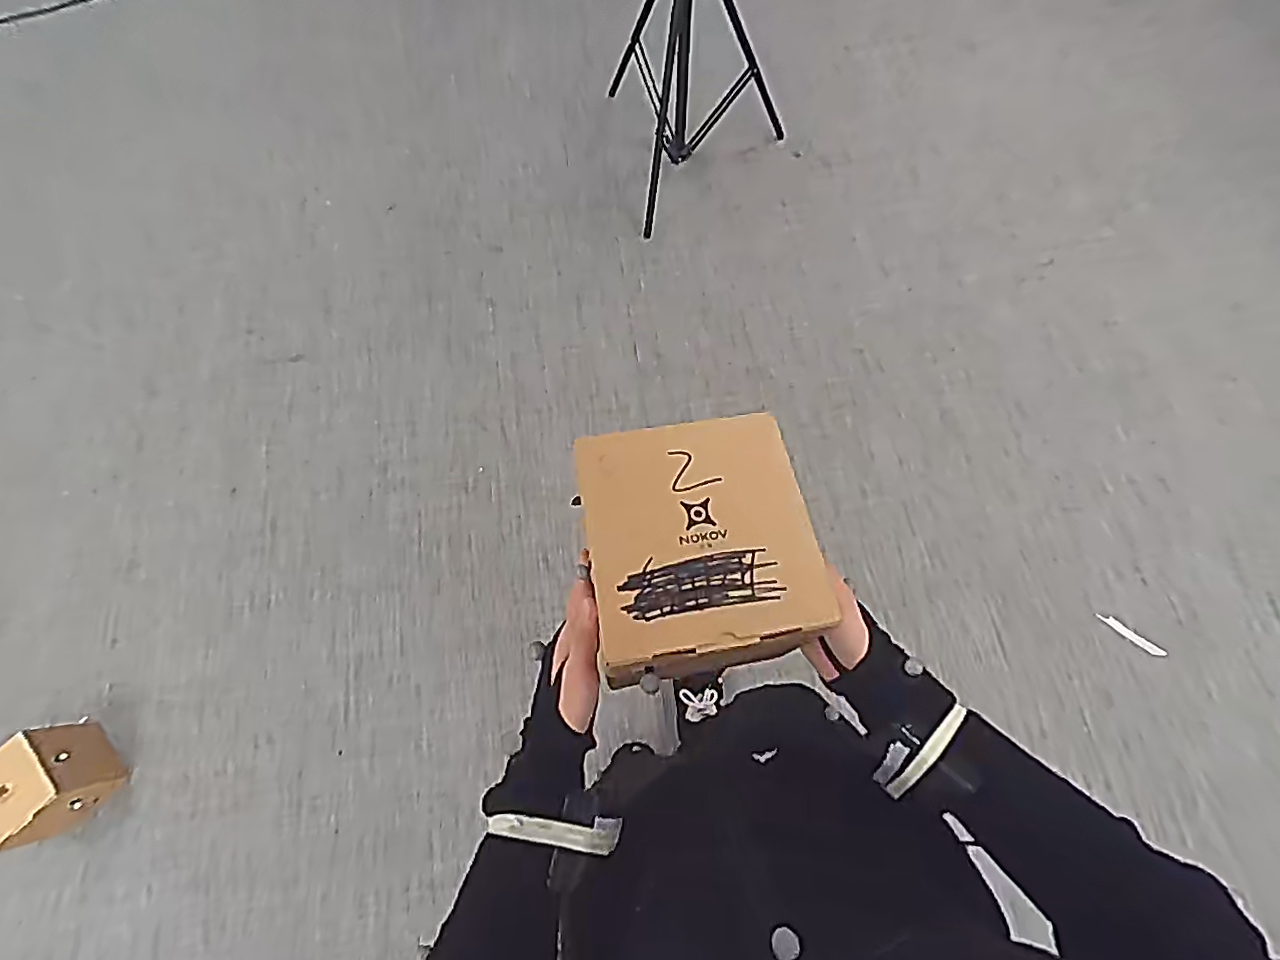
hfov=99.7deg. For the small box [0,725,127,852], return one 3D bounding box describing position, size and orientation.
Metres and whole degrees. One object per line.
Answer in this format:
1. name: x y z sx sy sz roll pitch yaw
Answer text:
1. small box: -1.328 0.678 1.213 0.179 0.176 0.168 43 78 14
